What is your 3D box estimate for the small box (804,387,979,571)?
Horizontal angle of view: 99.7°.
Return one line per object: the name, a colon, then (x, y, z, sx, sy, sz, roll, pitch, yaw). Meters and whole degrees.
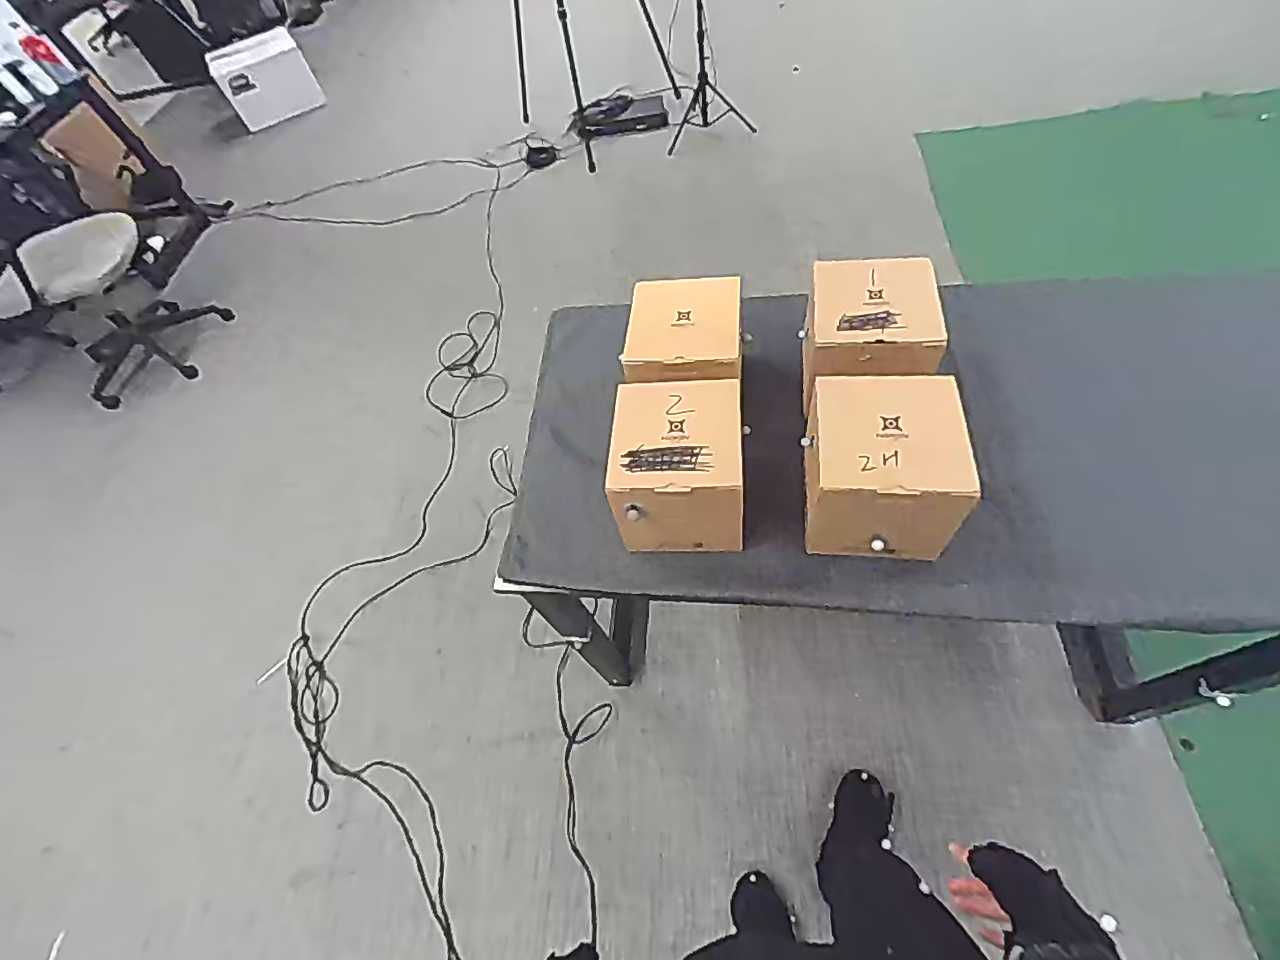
small box: (0.308, -0.001, 0.705, 0.168, 0.176, 0.179, 2, 57, 12)
